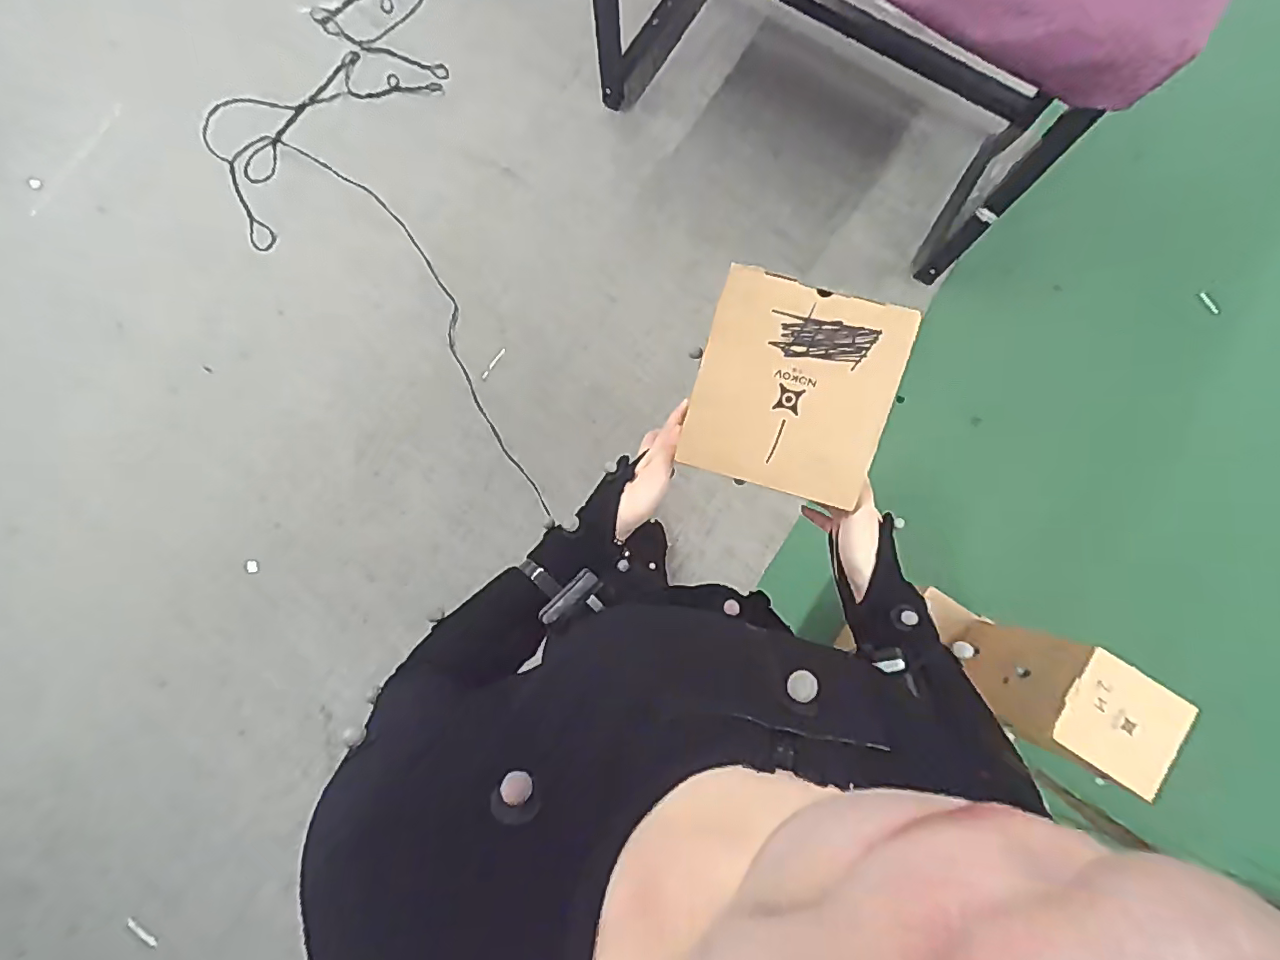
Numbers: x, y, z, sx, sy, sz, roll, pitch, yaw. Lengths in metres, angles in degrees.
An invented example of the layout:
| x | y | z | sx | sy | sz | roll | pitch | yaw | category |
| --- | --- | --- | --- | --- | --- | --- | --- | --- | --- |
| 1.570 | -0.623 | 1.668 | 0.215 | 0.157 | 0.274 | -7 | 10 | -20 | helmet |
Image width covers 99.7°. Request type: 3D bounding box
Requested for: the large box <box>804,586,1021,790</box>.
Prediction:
| x | y | z | sx | sy | sz | roll | pitch | yaw | category |
| --- | --- | --- | --- | --- | --- | --- | --- | --- | --- |
| 0.659 | 0.510 | 1.290 | 0.320 | 0.320 | 0.408 | 34 | 84 | 7 | large box |

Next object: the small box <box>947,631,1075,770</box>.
| x | y | z | sx | sy | sz | roll | pitch | yaw | category |
| --- | --- | --- | --- | --- | --- | --- | --- | --- | --- |
| 0.755 | 0.415 | 1.057 | 0.179 | 0.176 | 0.168 | 34 | 84 | 6 | small box |

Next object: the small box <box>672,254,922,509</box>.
| x | y | z | sx | sy | sz | roll | pitch | yaw | category |
| --- | --- | --- | --- | --- | --- | --- | --- | --- | --- |
| 0.134 | -0.090 | 0.526 | 0.168 | 0.176 | 0.179 | 16 | 99 | 4 | small box |

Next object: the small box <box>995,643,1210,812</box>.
| x | y | z | sx | sy | sz | roll | pitch | yaw | category |
| --- | --- | --- | --- | --- | --- | --- | --- | --- | --- |
| 0.747 | 0.391 | 0.894 | 0.179 | 0.176 | 0.168 | 33 | 84 | 6 | small box |
